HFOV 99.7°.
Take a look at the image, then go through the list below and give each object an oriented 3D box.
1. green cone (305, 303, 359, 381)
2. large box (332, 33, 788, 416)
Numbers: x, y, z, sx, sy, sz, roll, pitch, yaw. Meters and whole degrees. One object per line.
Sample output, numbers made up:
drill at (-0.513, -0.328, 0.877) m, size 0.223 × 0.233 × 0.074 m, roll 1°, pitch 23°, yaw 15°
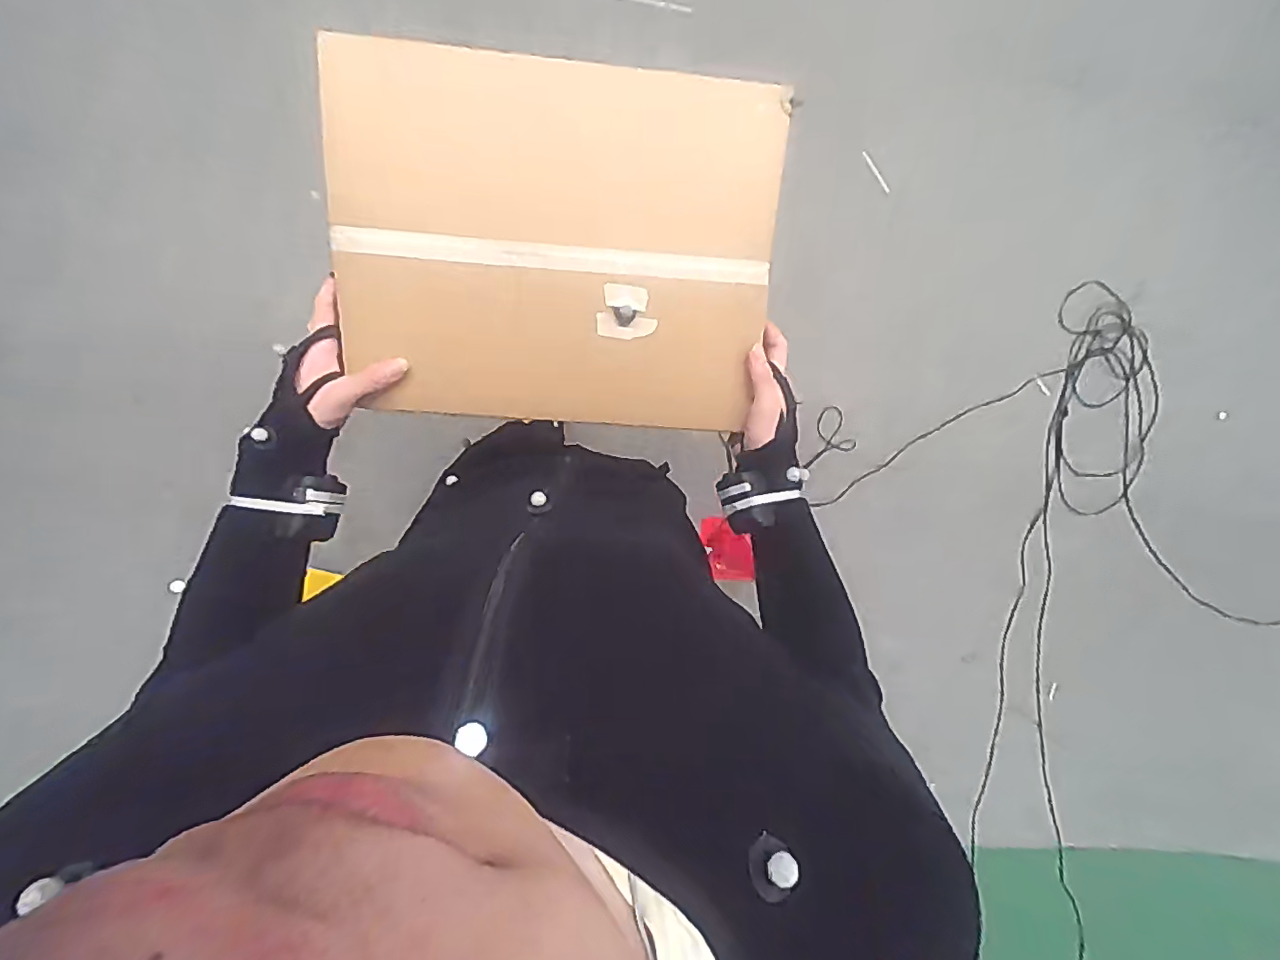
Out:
green cone at (-0.717, -0.344, 1.320) m, size 0.200 × 0.368 × 0.202 m, roll 13°, pitch 96°, yaw -9°
large box at (-0.085, -0.263, 0.653) m, size 0.408 × 0.320 × 0.320 m, roll 3°, pitch 107°, yaw -5°
